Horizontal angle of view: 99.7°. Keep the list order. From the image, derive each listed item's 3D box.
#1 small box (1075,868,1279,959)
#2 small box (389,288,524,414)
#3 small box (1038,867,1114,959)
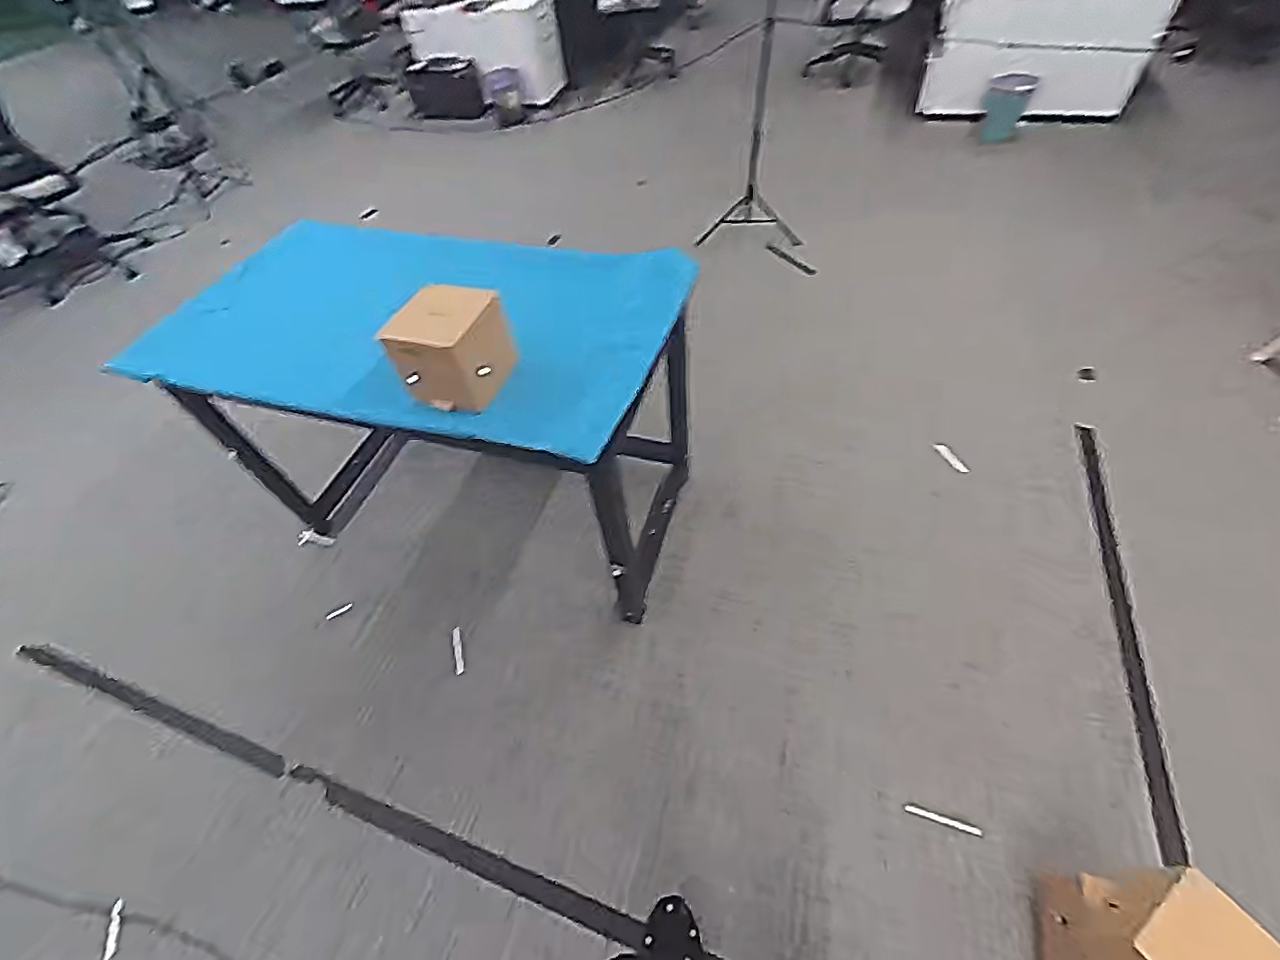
[{"bbox_3d":[0.870,0.758,0.867,0.179,0.176,0.168,-30,56,-17],"label":"small box"},{"bbox_3d":[-0.359,-0.259,1.075,0.168,0.176,0.179,11,54,15],"label":"small box"},{"bbox_3d":[0.873,0.857,1.003,0.168,0.176,0.179,15,55,16],"label":"small box"}]
